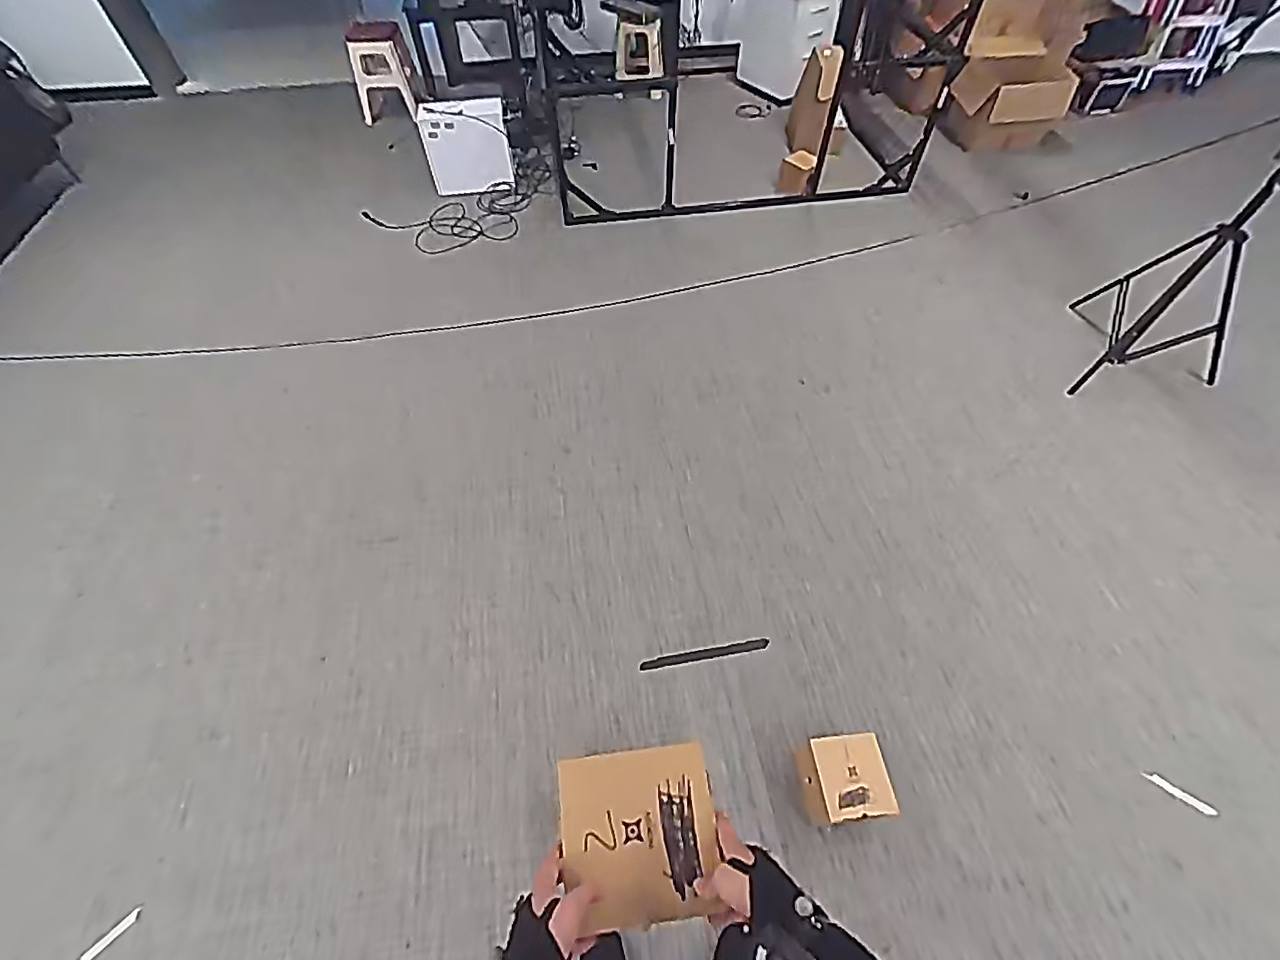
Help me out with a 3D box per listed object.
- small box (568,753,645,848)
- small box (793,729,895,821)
[{"bbox_3d":[-0.078,0.779,1.311,0.168,0.176,0.179,-7,54,-3],"label":"small box"},{"bbox_3d":[0.493,0.732,1.335,0.168,0.176,0.179,-5,54,-3],"label":"small box"}]
